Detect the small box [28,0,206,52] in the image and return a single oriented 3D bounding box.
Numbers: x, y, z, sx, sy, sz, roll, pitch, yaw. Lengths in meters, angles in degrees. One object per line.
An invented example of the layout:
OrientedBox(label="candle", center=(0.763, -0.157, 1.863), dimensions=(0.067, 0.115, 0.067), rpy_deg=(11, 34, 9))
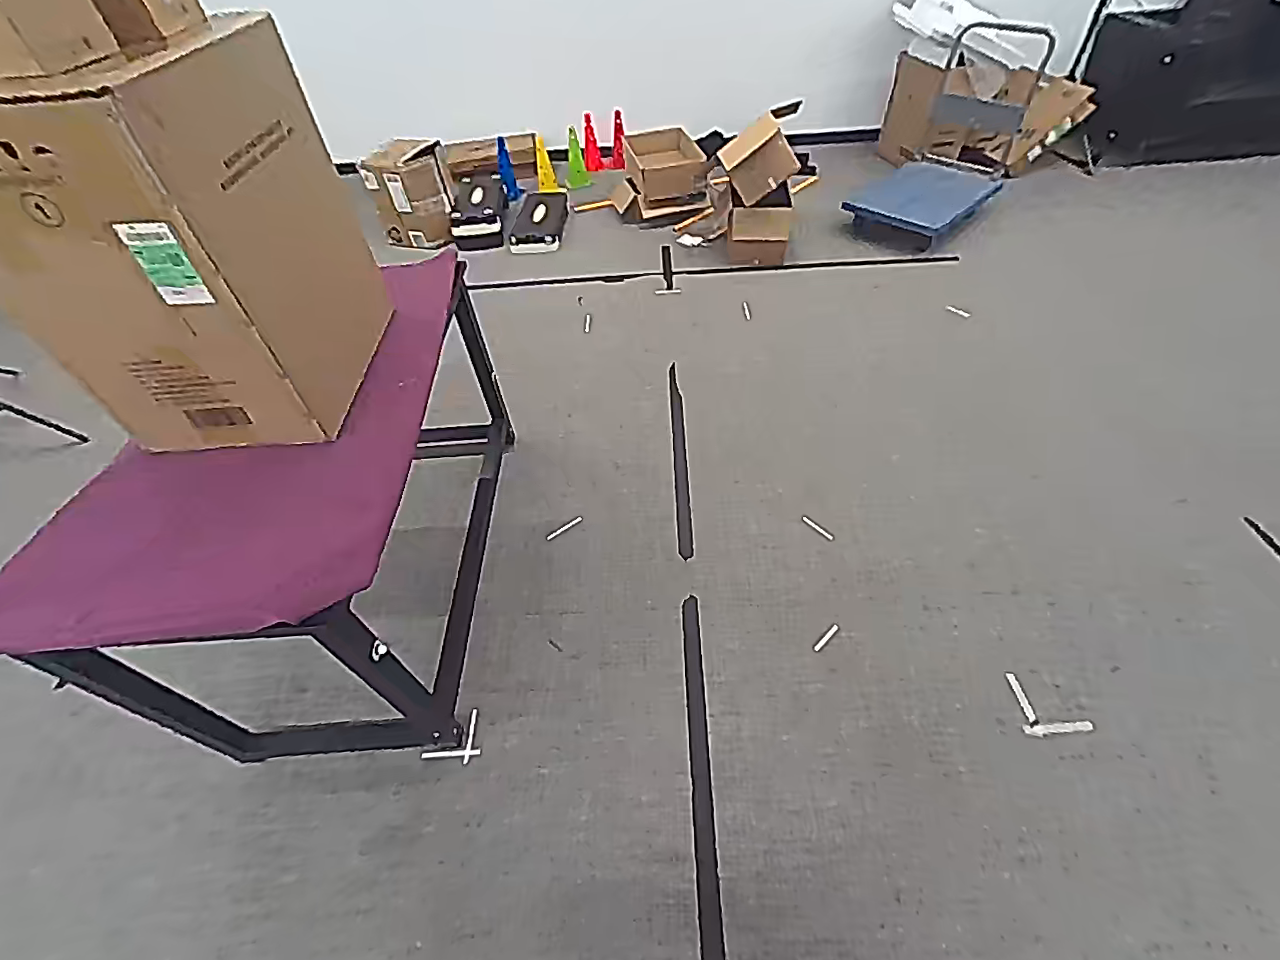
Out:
OrientedBox(label="small box", center=(-0.864, -0.809, 0.867), dimensions=(0.179, 0.176, 0.168), rpy_deg=(-6, 49, -2))
